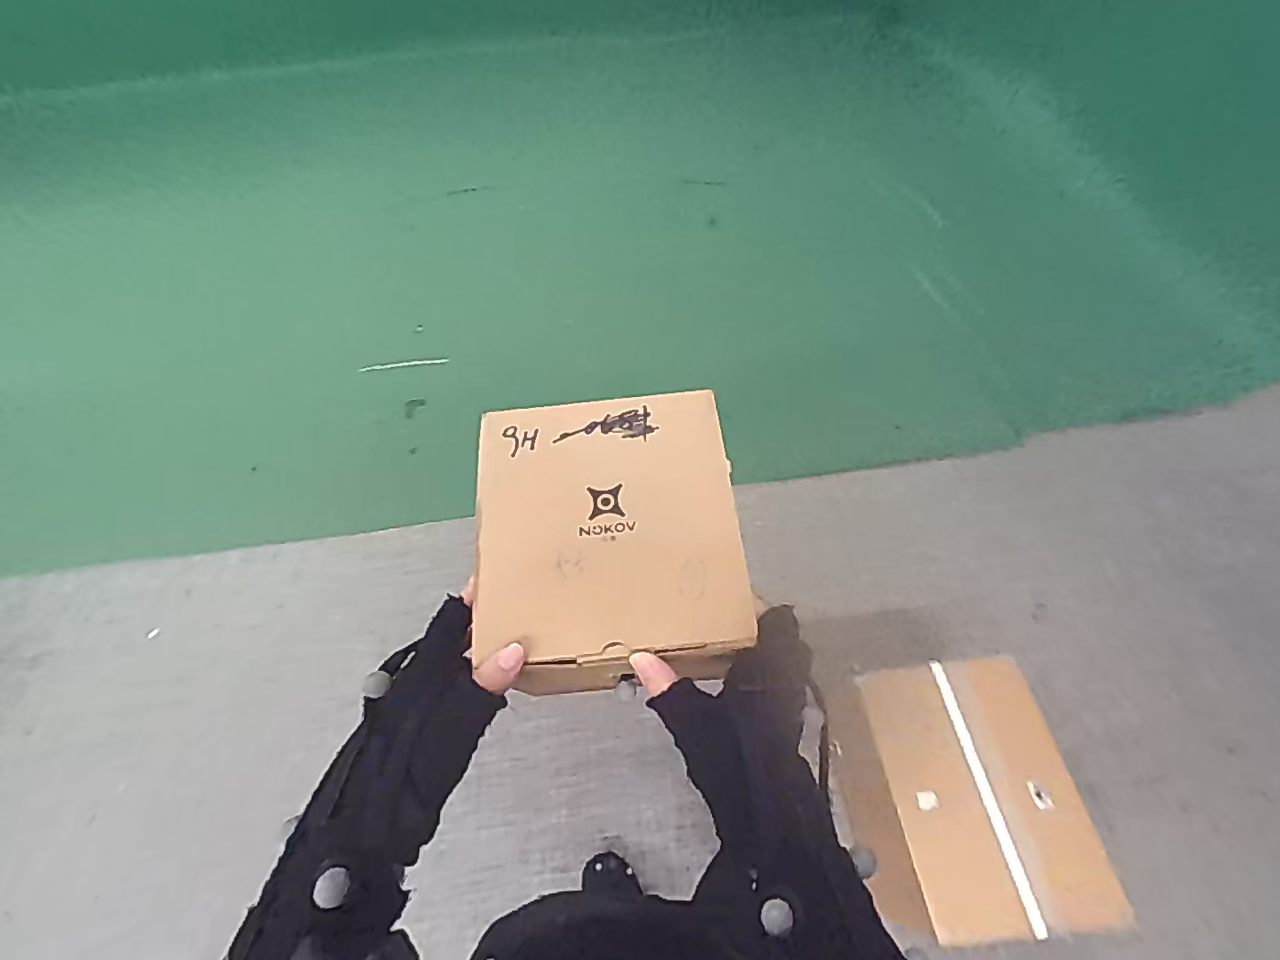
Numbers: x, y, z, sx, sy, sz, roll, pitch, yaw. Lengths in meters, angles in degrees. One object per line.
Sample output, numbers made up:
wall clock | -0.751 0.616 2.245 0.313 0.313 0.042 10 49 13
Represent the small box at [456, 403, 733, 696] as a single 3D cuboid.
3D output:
small box | -0.030 0.066 0.417 0.168 0.176 0.179 -7 65 -1
